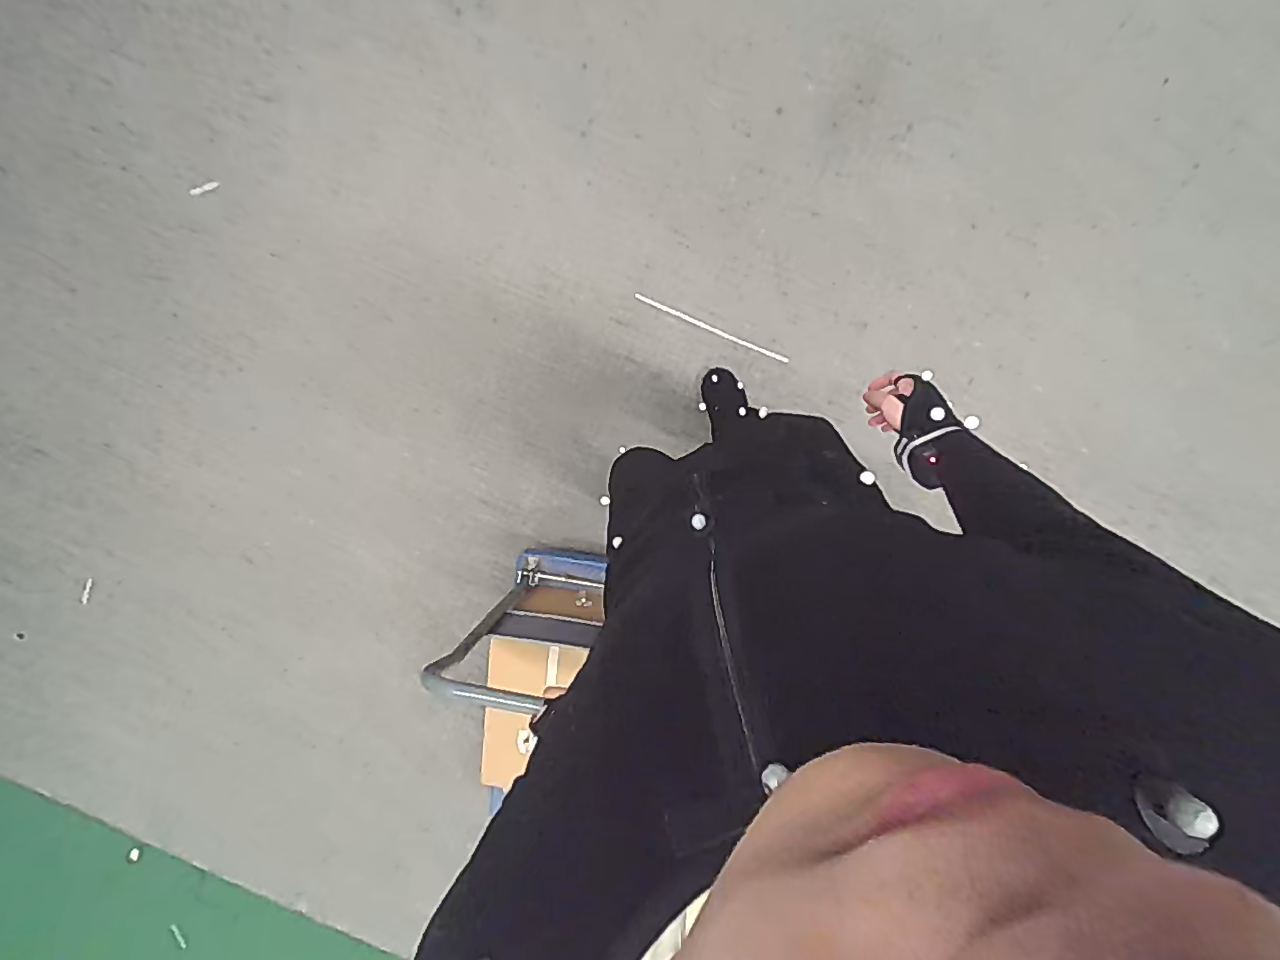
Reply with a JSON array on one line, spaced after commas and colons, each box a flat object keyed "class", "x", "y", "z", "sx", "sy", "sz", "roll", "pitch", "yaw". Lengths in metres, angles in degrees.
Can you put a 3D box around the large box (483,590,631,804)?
[{"class": "large box", "x": -0.199, "y": 0.536, "z": 1.405, "sx": 0.320, "sy": 0.320, "sz": 0.408, "roll": 7, "pitch": 99, "yaw": 4}]
